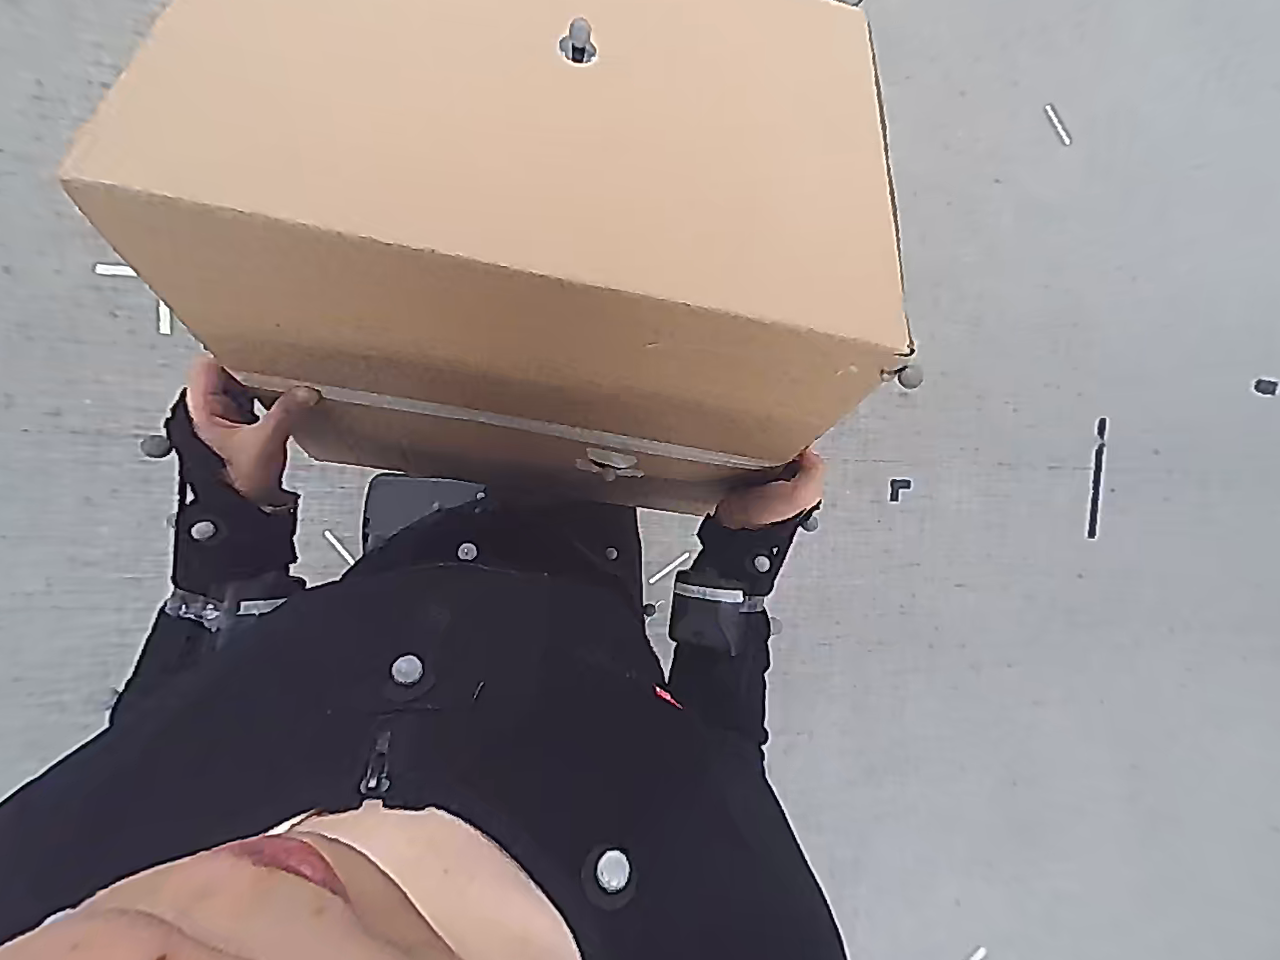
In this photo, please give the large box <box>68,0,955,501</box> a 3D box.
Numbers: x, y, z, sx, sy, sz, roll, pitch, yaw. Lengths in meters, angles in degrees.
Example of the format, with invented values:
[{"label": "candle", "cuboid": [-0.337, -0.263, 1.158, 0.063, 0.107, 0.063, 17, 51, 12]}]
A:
[{"label": "large box", "cuboid": [-0.055, -0.198, 0.433, 0.408, 0.320, 0.320, 8, 69, -9]}]
